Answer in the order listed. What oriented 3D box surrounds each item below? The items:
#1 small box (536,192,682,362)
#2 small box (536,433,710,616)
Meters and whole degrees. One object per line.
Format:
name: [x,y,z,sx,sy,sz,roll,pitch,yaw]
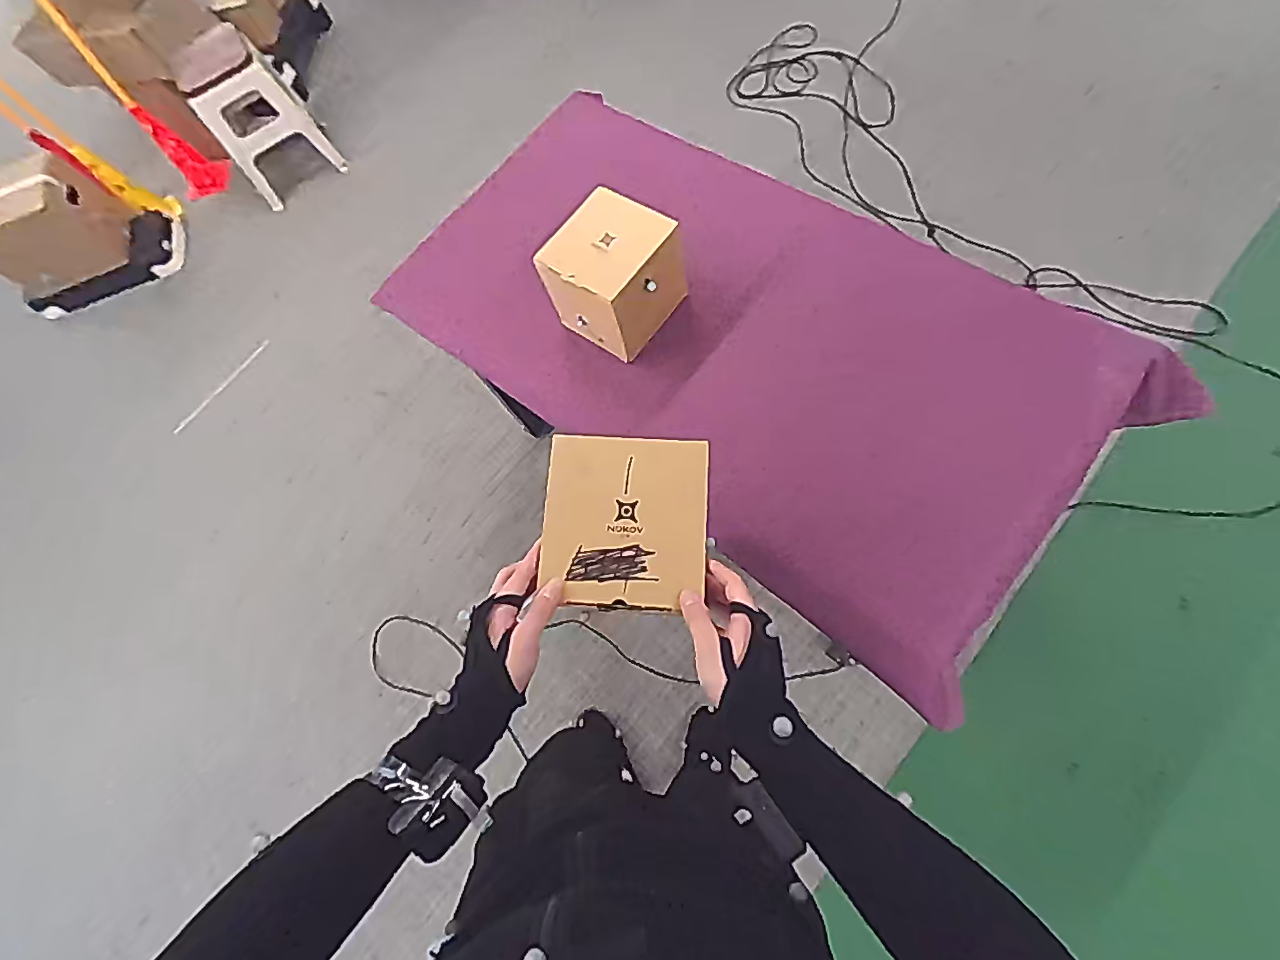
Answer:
small box: [-0.041,-0.339,0.923,0.168,0.176,0.179,34,80,19]
small box: [-0.012,0.060,0.620,0.168,0.176,0.179,4,74,2]
